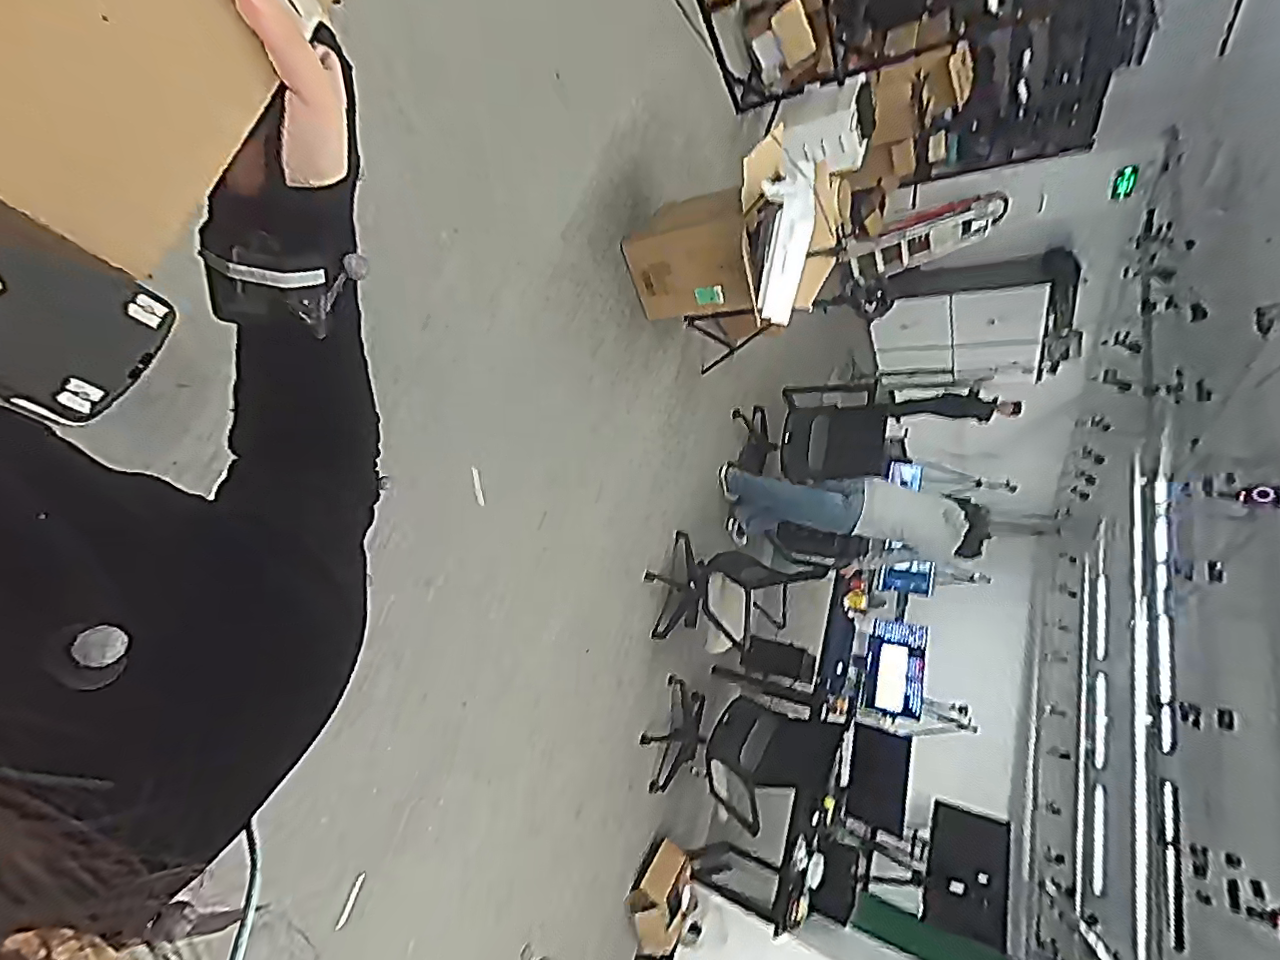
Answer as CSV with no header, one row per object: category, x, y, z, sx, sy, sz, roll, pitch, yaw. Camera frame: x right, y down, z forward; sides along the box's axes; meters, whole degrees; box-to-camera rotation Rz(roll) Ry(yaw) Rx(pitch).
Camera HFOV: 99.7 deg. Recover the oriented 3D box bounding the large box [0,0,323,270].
large box,-0.366,-0.326,0.158,0.320,0.320,0.408,-71,157,-12
